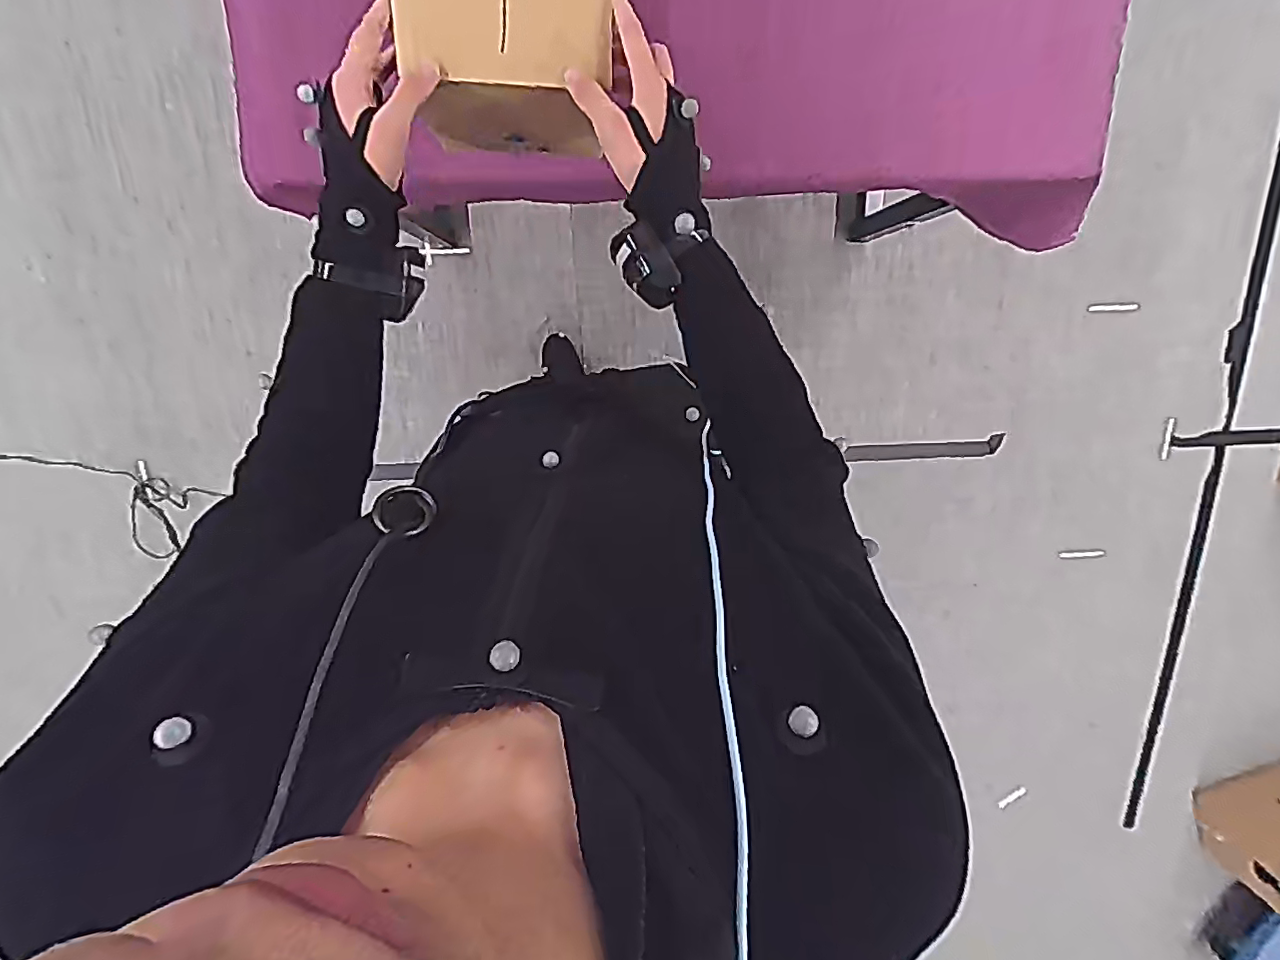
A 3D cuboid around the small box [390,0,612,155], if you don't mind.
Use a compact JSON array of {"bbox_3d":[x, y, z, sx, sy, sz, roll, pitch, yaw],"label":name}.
[{"bbox_3d":[-0.112,-0.413,0.473,0.168,0.176,0.179,-1,106,-7],"label":"small box"}]
